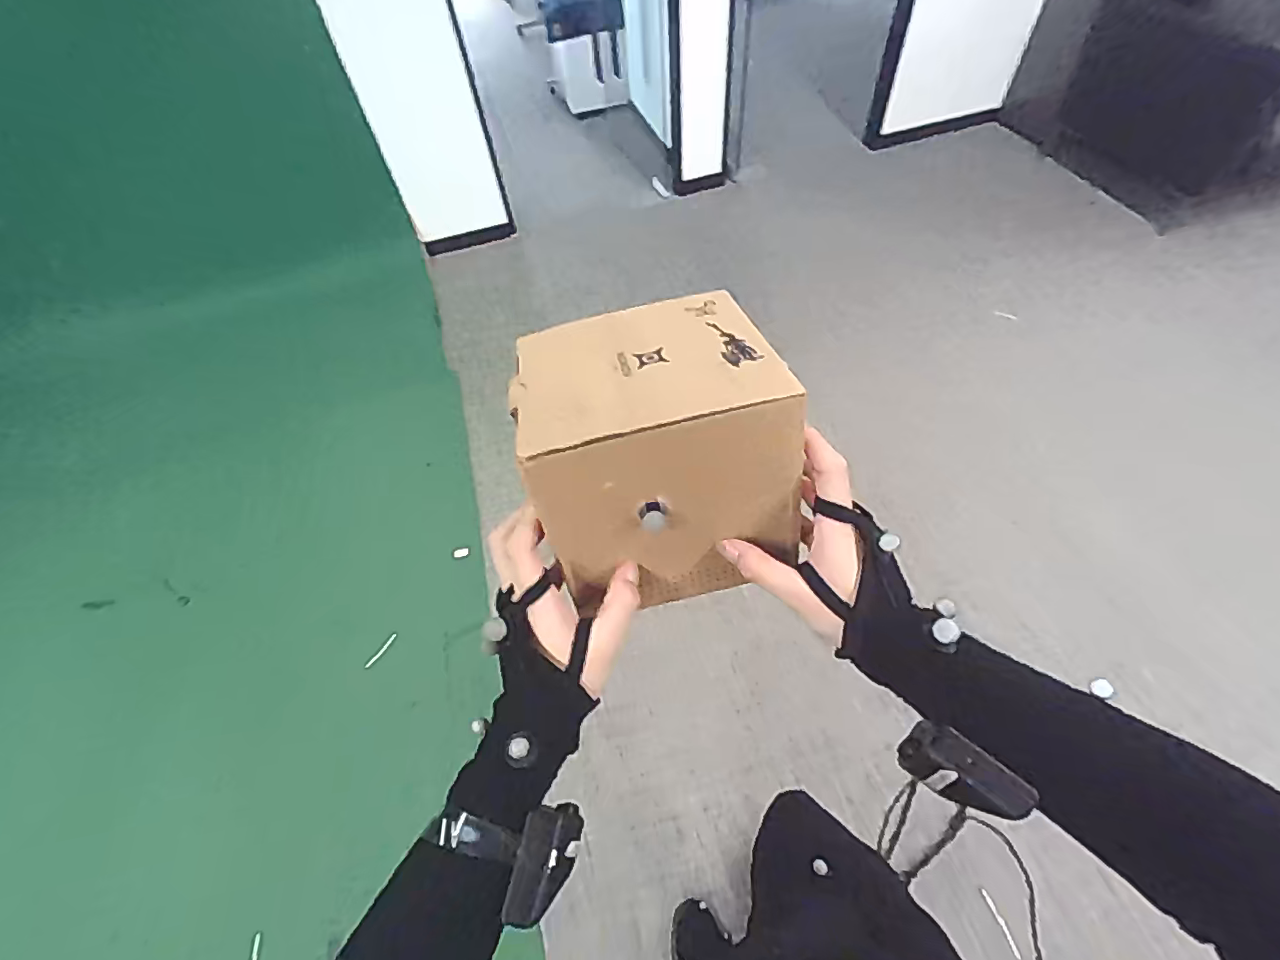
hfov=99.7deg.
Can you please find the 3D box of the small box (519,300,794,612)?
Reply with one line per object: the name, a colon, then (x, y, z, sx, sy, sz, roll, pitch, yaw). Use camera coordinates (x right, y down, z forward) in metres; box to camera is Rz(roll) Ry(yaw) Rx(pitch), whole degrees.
small box: (0.015, -0.018, 0.437, 0.179, 0.176, 0.168, -14, 40, 0)
